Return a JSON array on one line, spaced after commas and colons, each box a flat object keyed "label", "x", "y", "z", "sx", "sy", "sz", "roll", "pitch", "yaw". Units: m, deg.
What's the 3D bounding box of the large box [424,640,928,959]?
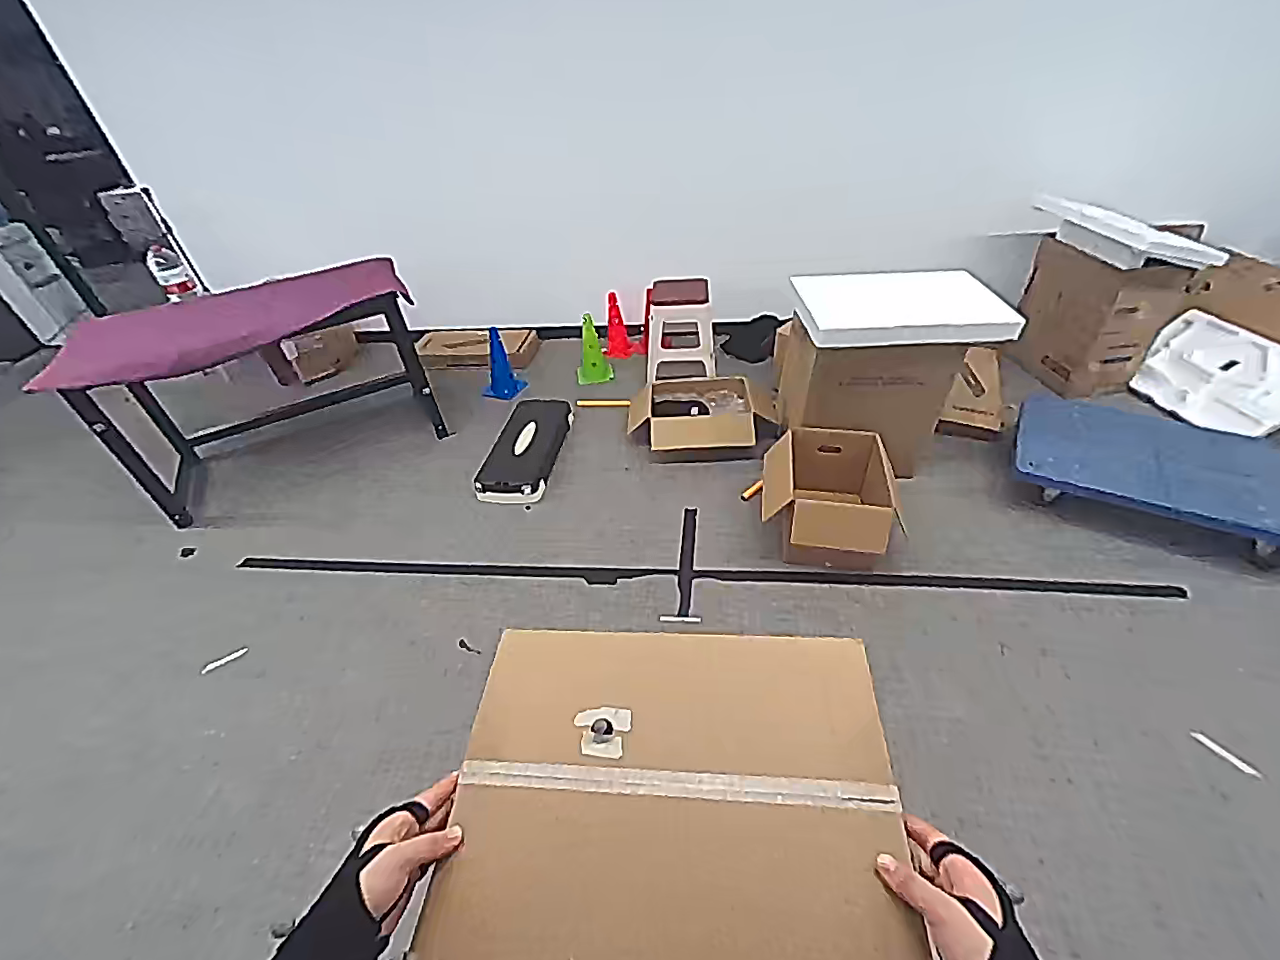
[{"label": "large box", "x": 0.048, "y": 0.398, "z": 0.614, "sx": 0.408, "sy": 0.320, "sz": 0.320, "roll": -2, "pitch": 43, "yaw": 8}]
